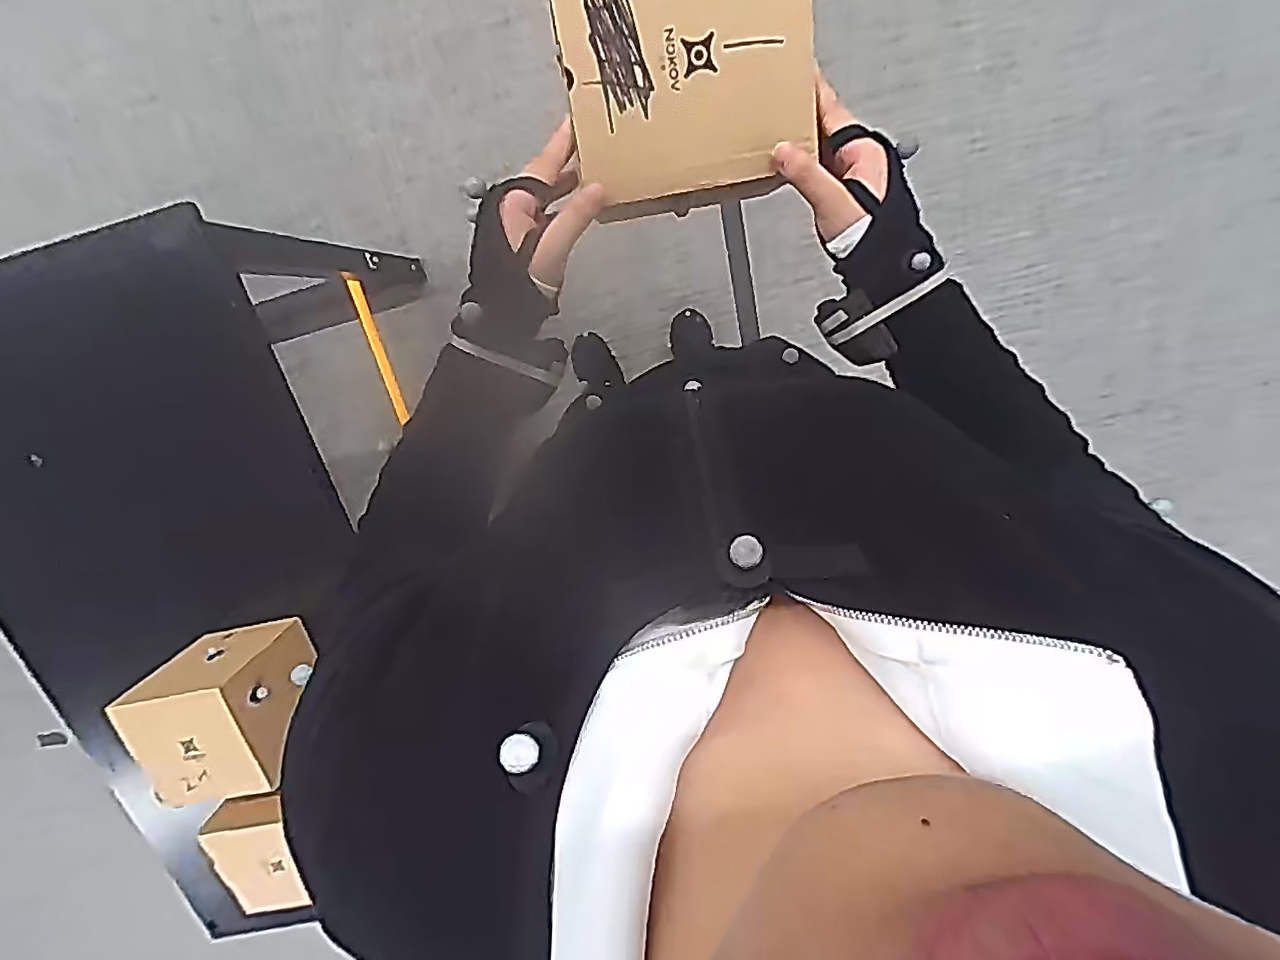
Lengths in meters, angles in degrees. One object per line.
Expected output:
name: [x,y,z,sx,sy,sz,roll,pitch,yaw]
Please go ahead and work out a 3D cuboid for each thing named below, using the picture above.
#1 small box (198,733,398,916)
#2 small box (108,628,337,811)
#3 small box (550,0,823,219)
small box: [-0.522,0.535,0.855,0.179,0.176,0.168,-14,109,5]
small box: [-0.588,0.336,0.790,0.168,0.176,0.179,-12,108,6]
small box: [0.033,-0.317,0.436,0.179,0.176,0.168,-9,112,3]
